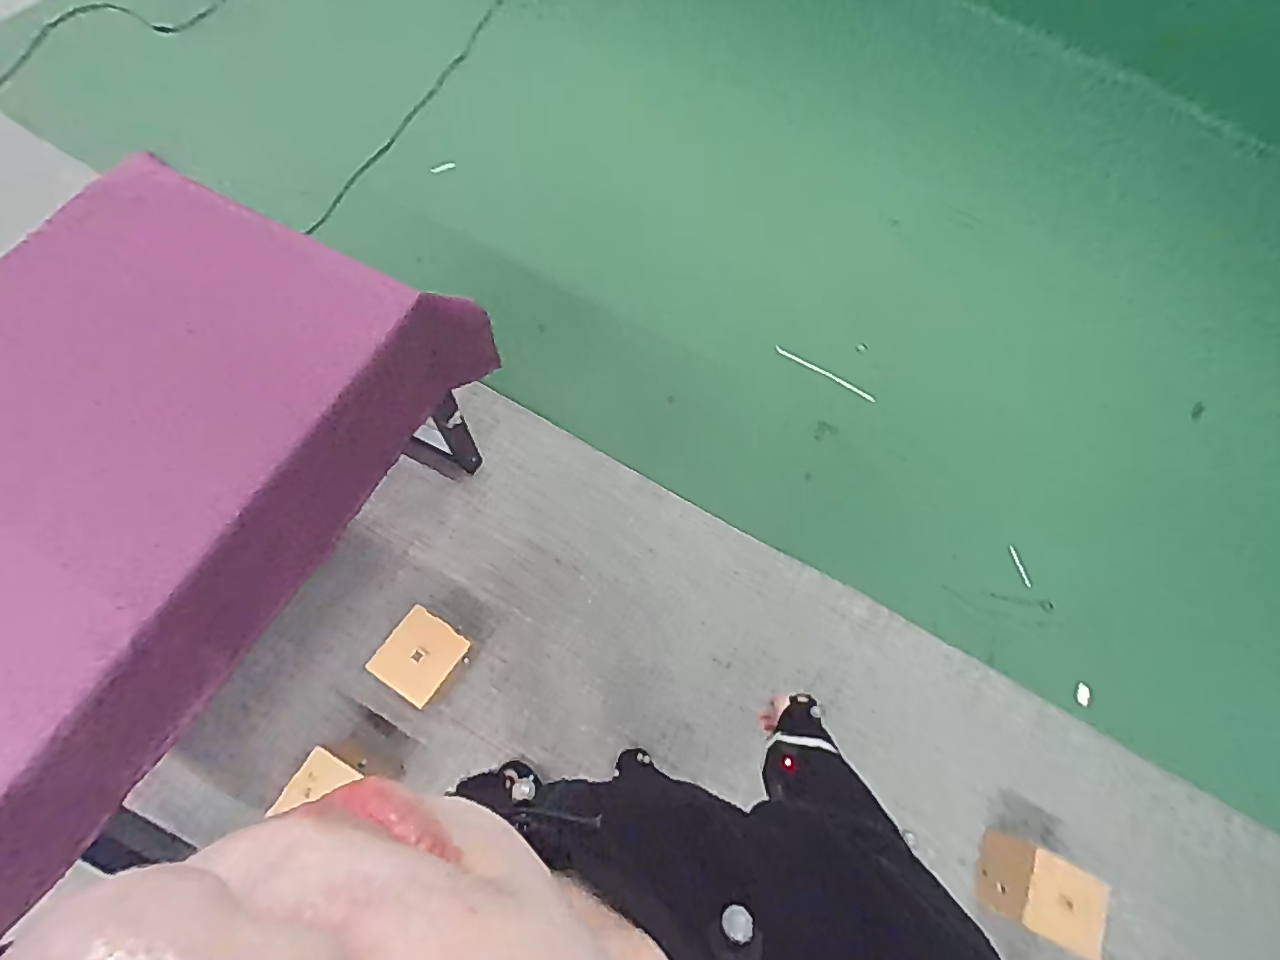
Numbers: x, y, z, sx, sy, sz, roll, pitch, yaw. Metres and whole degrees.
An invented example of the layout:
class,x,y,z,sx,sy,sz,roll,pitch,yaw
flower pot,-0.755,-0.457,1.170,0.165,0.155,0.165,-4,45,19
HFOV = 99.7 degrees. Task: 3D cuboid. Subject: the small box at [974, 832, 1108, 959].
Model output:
class,x,y,z,sx,sy,sz,roll,pitch,yaw
small box,0.929,0.960,1.266,0.179,0.176,0.168,28,69,5
